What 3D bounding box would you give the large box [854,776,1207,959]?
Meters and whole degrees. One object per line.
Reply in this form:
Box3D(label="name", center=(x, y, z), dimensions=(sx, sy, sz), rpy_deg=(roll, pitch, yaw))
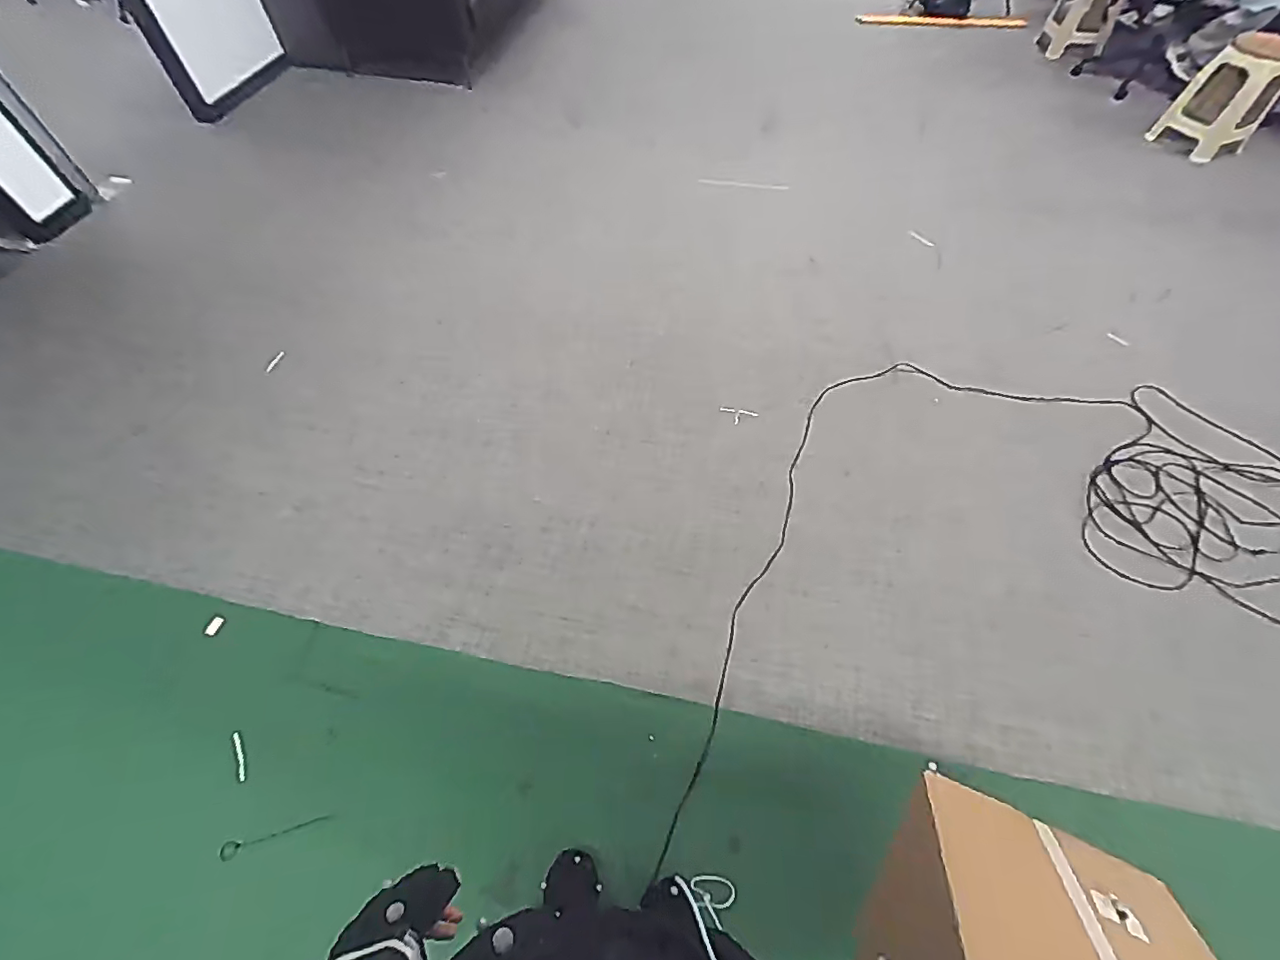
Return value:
Box3D(label="large box", center=(0.456, 0.657, 0.625), dimensions=(0.320, 0.408, 0.320), rpy_deg=(22, 100, 19))
